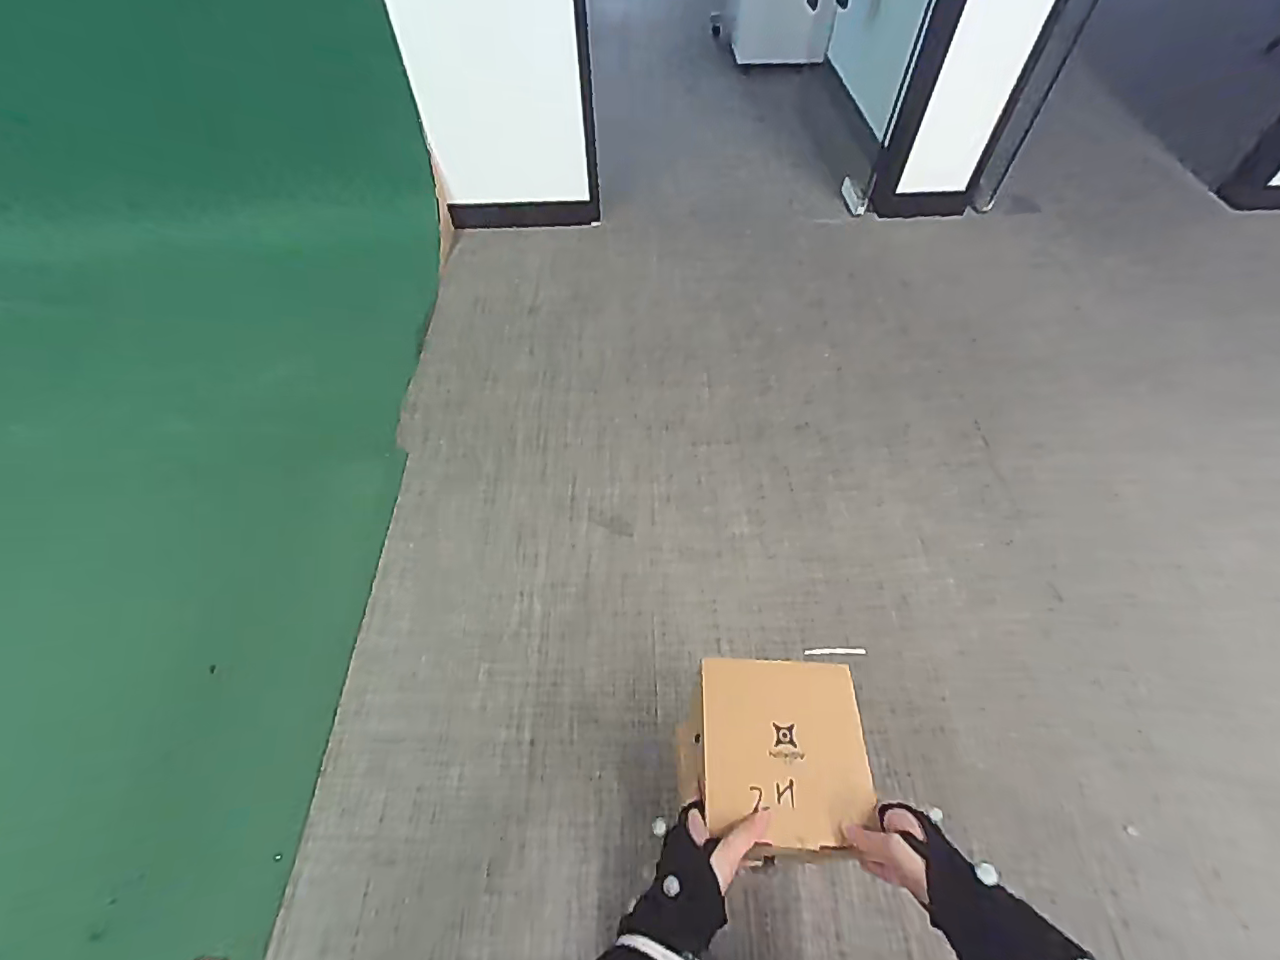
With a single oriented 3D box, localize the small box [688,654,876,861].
[{"bbox_3d":[0.144,0.319,0.620,0.168,0.176,0.179,3,52,2],"label":"small box"}]
